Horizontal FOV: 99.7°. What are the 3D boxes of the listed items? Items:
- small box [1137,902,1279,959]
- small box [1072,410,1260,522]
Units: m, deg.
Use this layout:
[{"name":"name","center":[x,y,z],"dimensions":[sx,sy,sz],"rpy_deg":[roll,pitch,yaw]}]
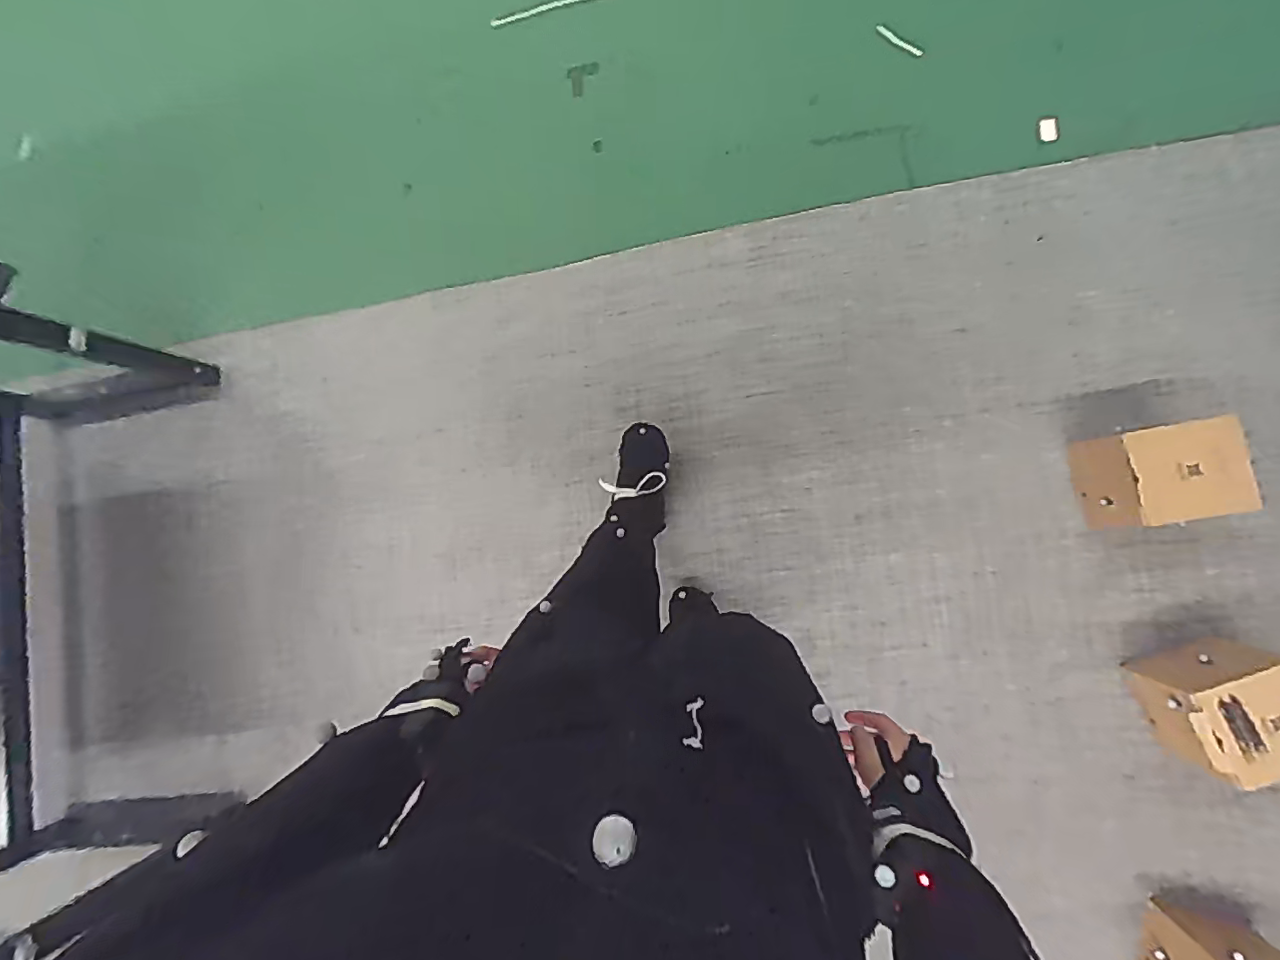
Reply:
[{"name":"small box","center":[1.013,0.873,0.919],"dimensions":[0.179,0.176,0.168],"rpy_deg":[11,89,10]},{"name":"small box","center":[0.934,-0.017,0.985],"dimensions":[0.179,0.176,0.168],"rpy_deg":[-11,86,8]}]
